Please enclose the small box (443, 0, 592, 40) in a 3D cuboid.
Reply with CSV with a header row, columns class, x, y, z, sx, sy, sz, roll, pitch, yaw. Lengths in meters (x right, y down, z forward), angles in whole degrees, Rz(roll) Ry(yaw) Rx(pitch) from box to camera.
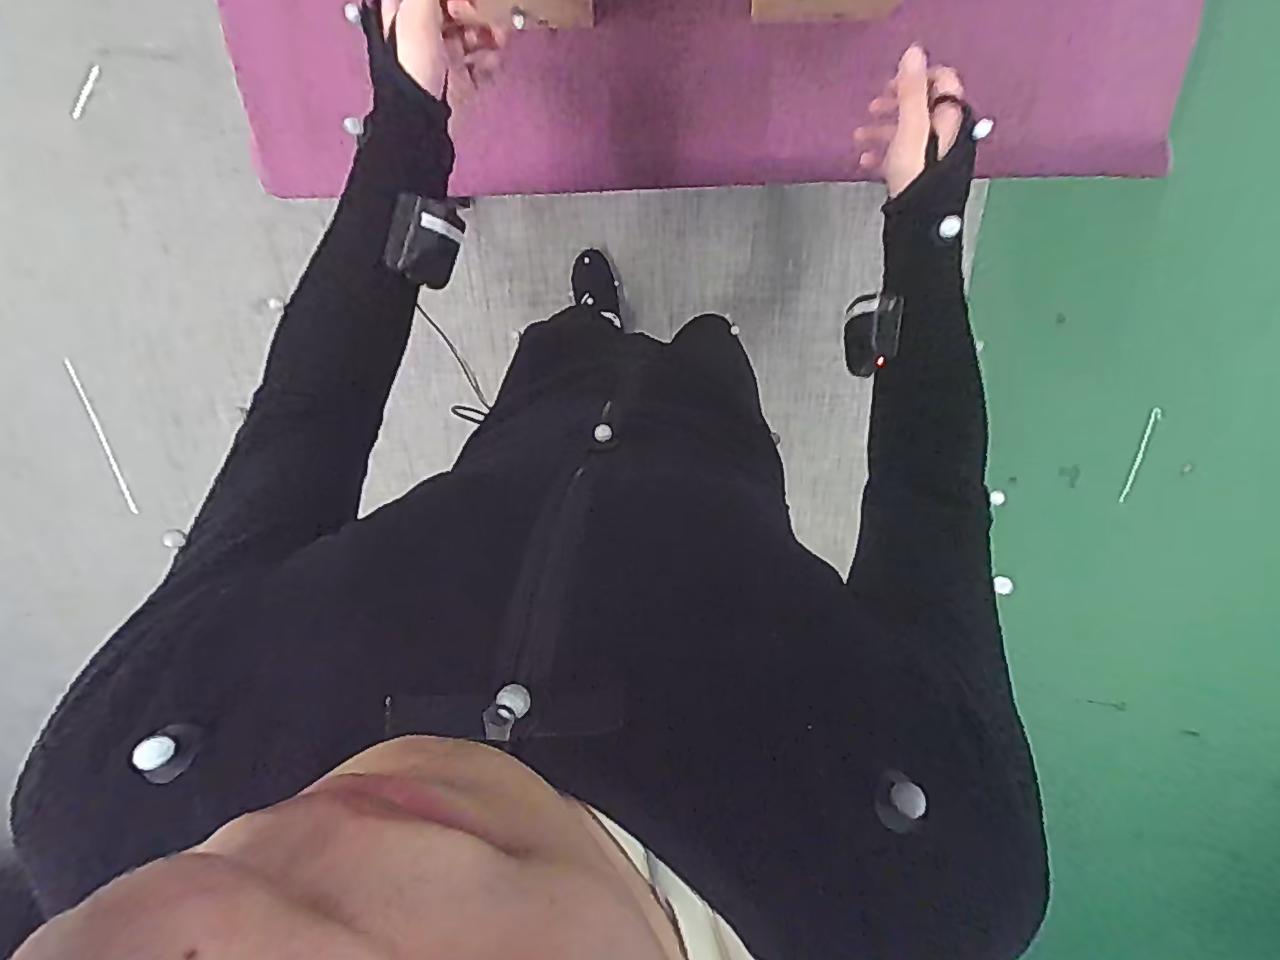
class,x,y,z,sx,sy,sz,roll,pitch,yaw
small box,-0.138,-0.593,0.557,0.168,0.176,0.179,-2,112,0
